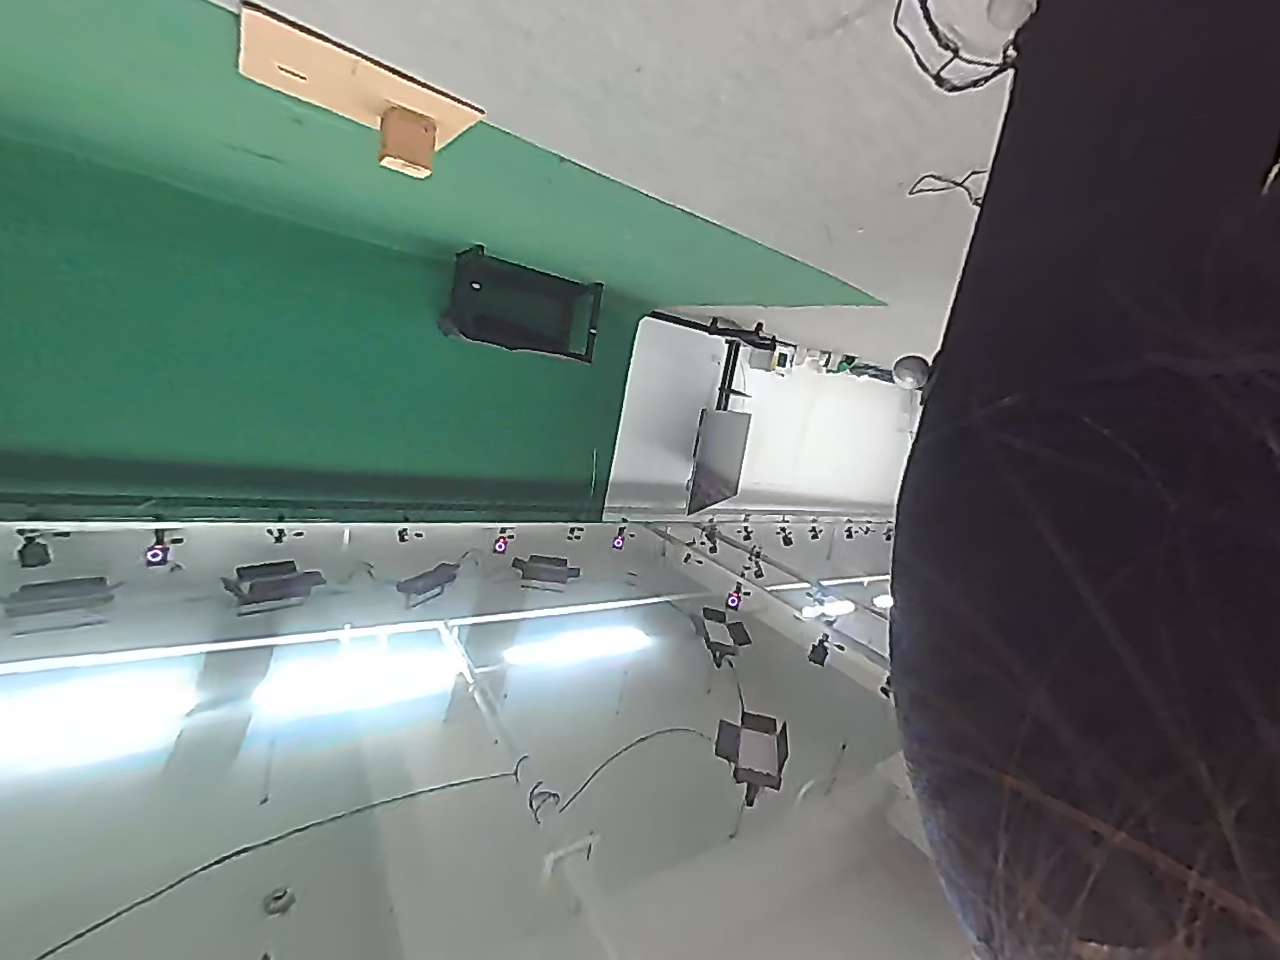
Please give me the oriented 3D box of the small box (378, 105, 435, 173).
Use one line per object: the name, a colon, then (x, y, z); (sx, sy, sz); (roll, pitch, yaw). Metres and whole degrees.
small box: (-0.906, -1.321, 2.096); (0.168, 0.176, 0.179); (1, -165, -39)
